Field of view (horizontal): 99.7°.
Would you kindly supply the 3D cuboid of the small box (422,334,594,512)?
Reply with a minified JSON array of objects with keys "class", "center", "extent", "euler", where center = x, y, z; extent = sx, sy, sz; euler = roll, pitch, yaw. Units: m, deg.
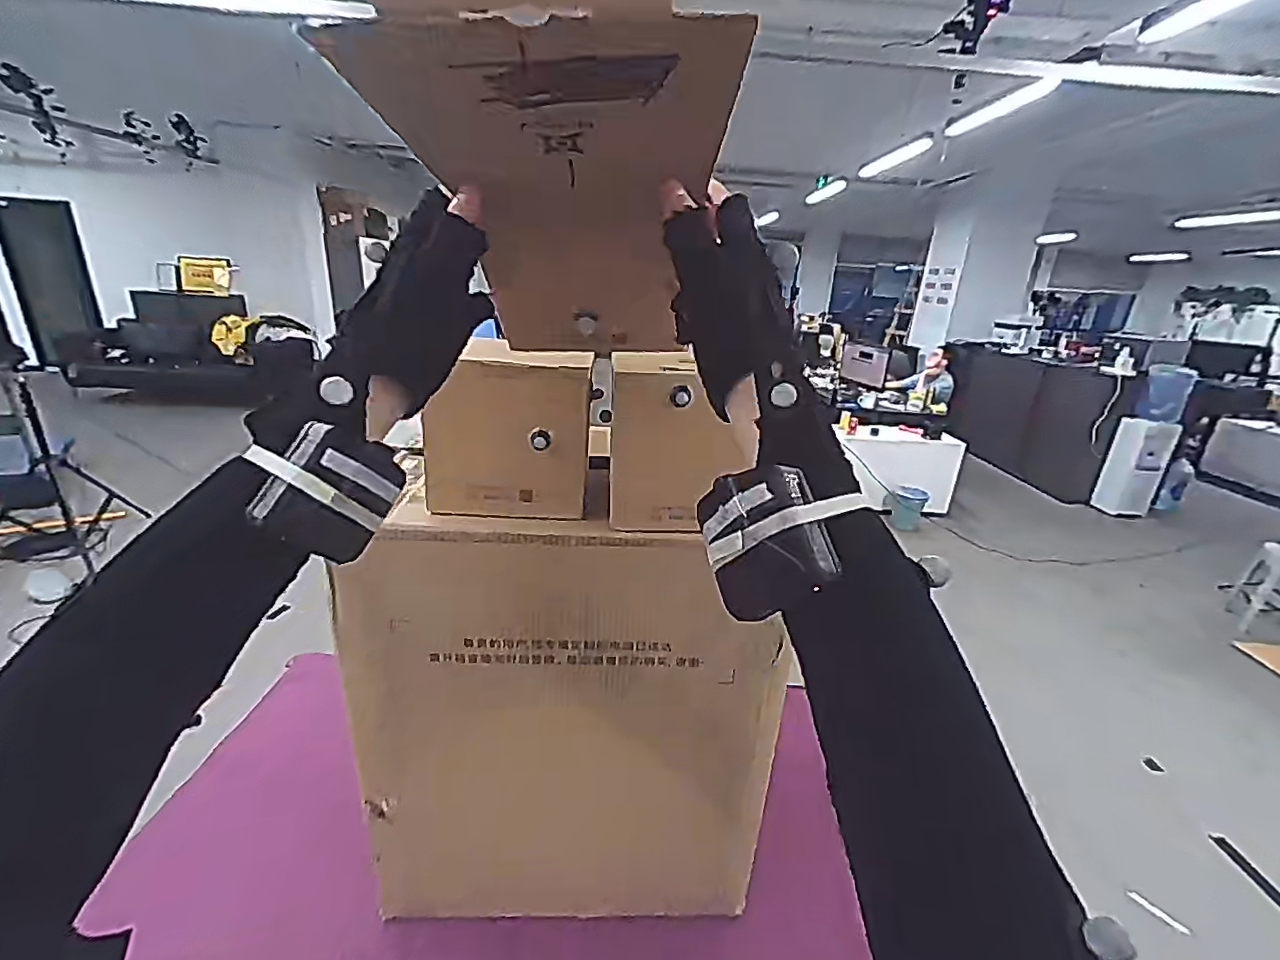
[{"class":"small box","center":[-0.140,-0.071,0.628],"extent":[0.168,0.176,0.179],"euler":[4,19,-6]}]

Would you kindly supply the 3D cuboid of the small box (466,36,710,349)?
[{"class":"small box","center":[-0.034,-0.235,0.463],"extent":[0.168,0.179,0.176],"euler":[0,-24,1]}]

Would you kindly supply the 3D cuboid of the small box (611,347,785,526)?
[{"class":"small box","center":[0.051,-0.058,0.620],"extent":[0.168,0.176,0.179],"euler":[1,19,-4]}]
